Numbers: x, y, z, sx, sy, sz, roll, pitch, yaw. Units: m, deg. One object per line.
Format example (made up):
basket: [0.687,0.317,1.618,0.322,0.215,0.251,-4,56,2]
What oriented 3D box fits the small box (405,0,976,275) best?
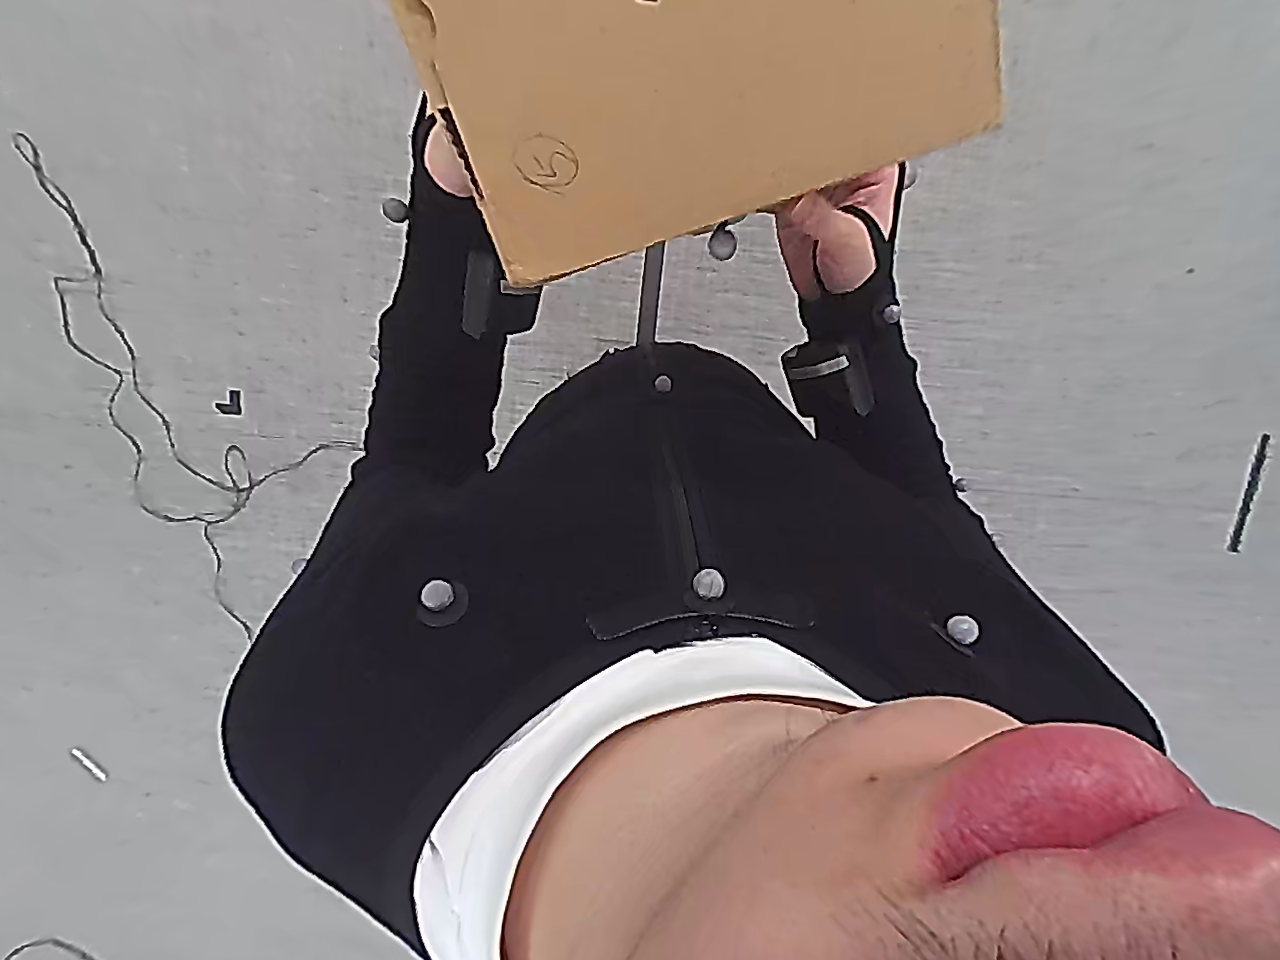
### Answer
small box: [0.010,-0.203,0.241,0.179,0.176,0.168,-17,113,8]
